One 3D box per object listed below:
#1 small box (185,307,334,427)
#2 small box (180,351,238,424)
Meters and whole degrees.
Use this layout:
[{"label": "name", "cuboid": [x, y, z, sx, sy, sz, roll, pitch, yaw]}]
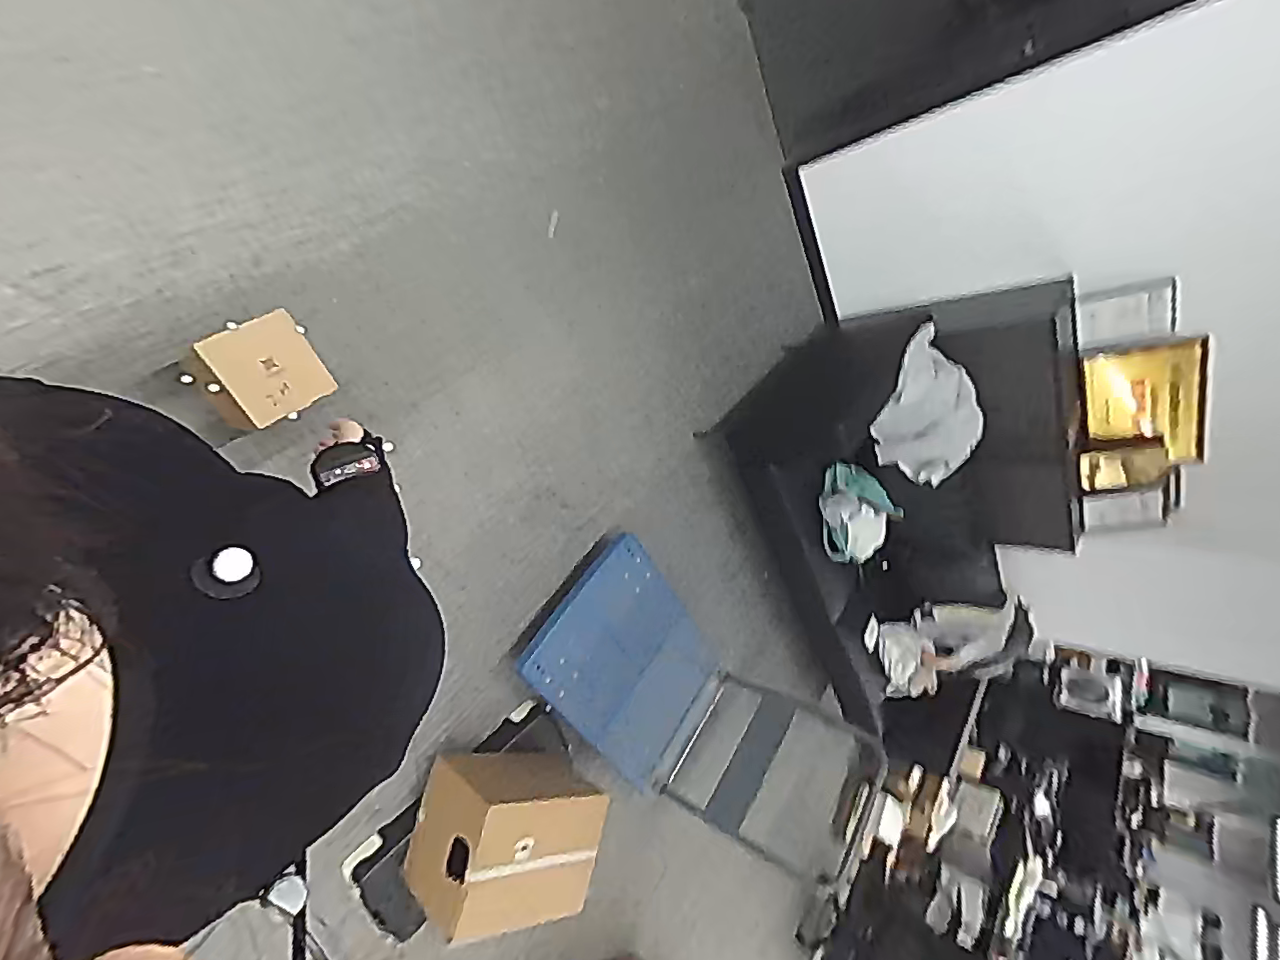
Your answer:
[{"label": "small box", "cuboid": [-0.753, -0.216, 1.068, 0.168, 0.176, 0.179, -42, 121, -33]}, {"label": "small box", "cuboid": [-0.865, -0.231, 1.188, 0.179, 0.176, 0.168, -43, 121, -34]}]
